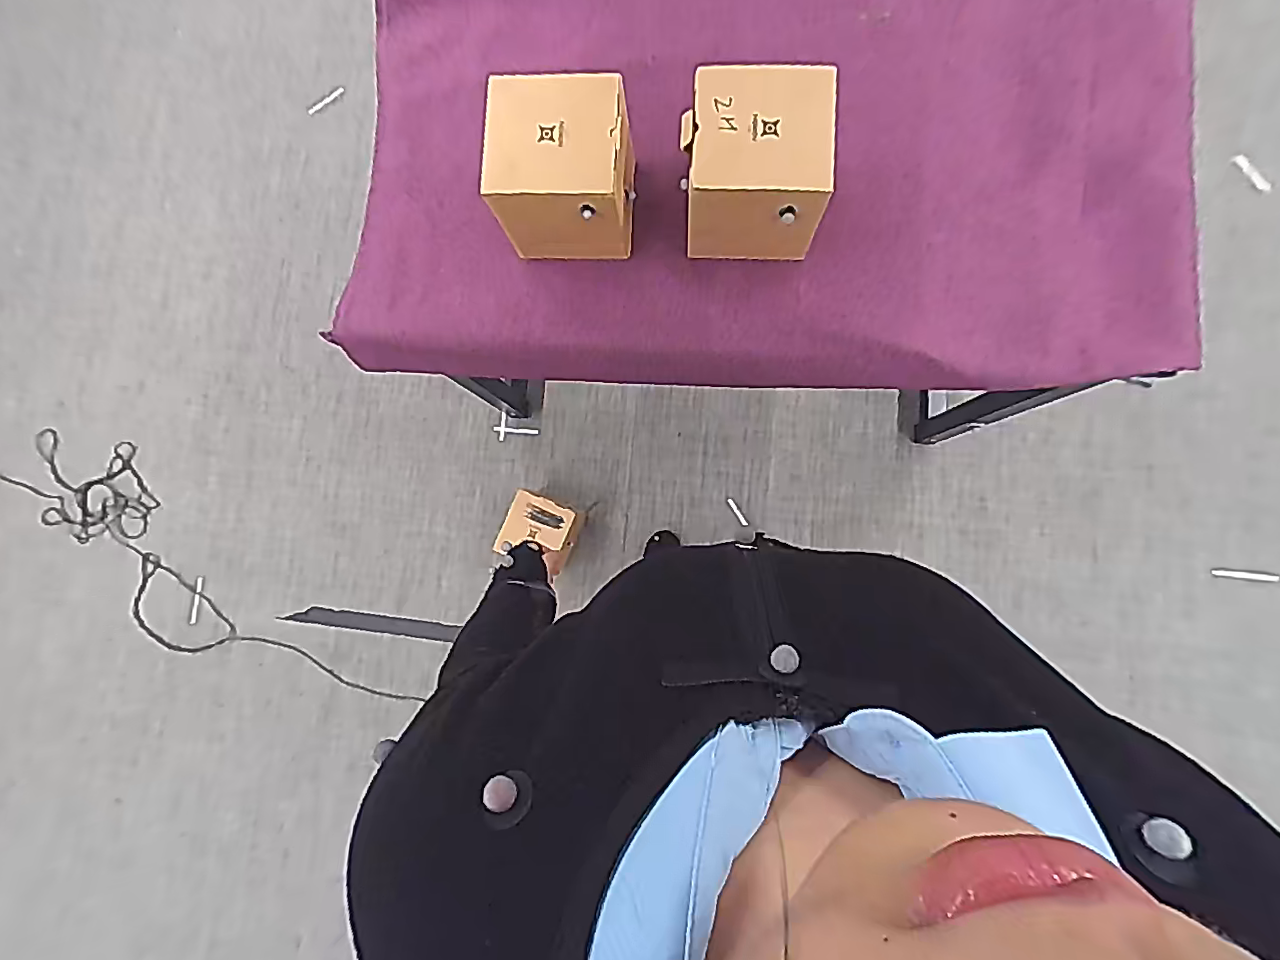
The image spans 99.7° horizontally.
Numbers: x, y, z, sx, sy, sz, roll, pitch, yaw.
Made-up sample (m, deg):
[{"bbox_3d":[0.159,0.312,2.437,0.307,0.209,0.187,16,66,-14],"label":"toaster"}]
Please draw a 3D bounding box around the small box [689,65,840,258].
[{"bbox_3d":[0.161,-0.423,0.742,0.179,0.176,0.168,3,84,6],"label":"small box"}]

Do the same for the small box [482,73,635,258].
[{"bbox_3d":[-0.105,-0.432,0.768,0.179,0.176,0.168,2,85,4],"label":"small box"}]
